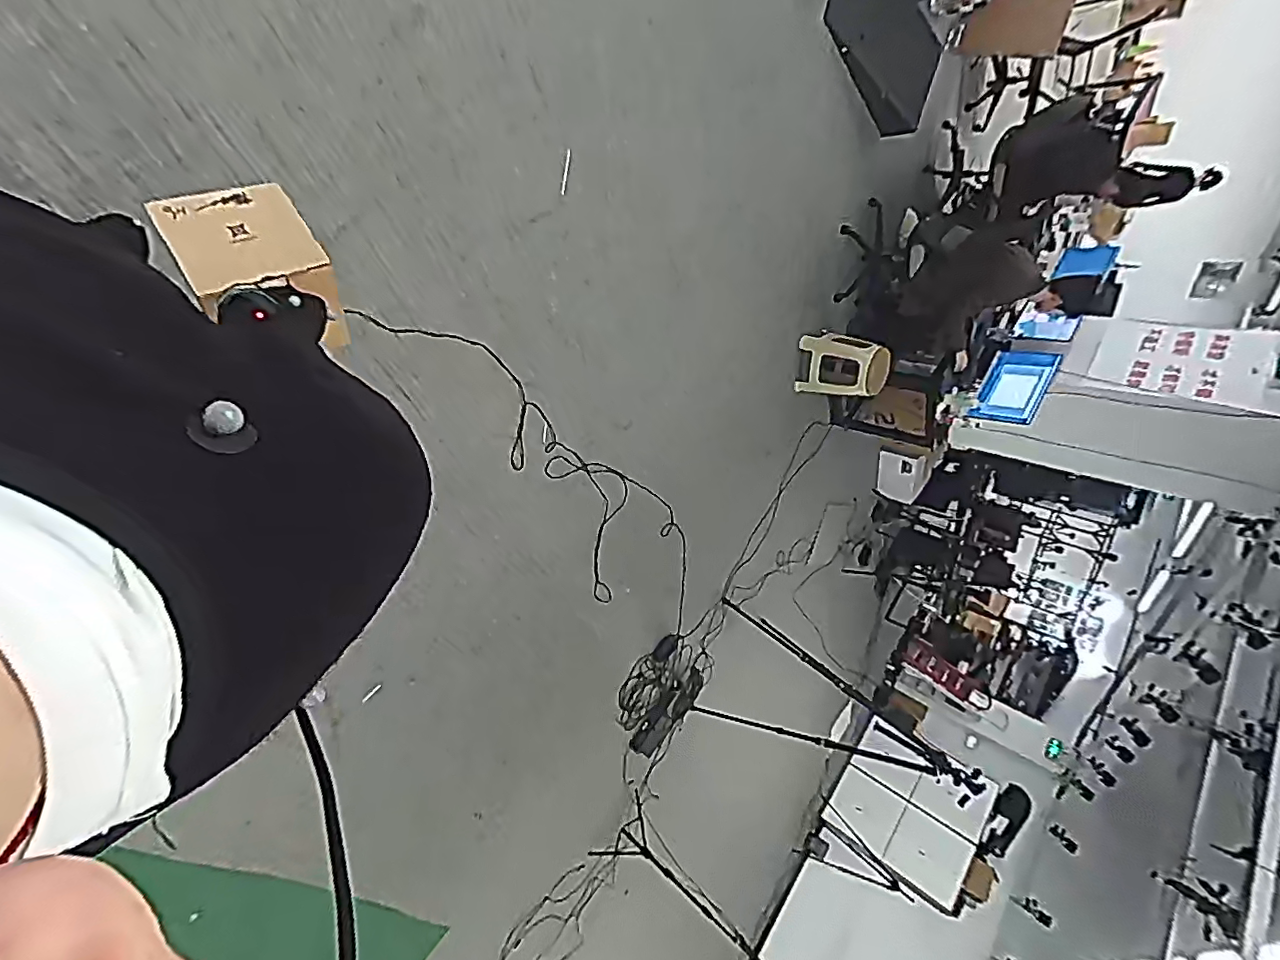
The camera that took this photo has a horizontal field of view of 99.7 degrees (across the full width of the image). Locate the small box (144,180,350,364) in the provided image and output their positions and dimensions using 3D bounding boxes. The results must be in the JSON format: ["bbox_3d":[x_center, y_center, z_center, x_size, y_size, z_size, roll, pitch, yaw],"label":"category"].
[{"bbox_3d":[-0.563,-0.297,0.802,0.168,0.179,0.176,-33,167,-27],"label":"small box"}]
